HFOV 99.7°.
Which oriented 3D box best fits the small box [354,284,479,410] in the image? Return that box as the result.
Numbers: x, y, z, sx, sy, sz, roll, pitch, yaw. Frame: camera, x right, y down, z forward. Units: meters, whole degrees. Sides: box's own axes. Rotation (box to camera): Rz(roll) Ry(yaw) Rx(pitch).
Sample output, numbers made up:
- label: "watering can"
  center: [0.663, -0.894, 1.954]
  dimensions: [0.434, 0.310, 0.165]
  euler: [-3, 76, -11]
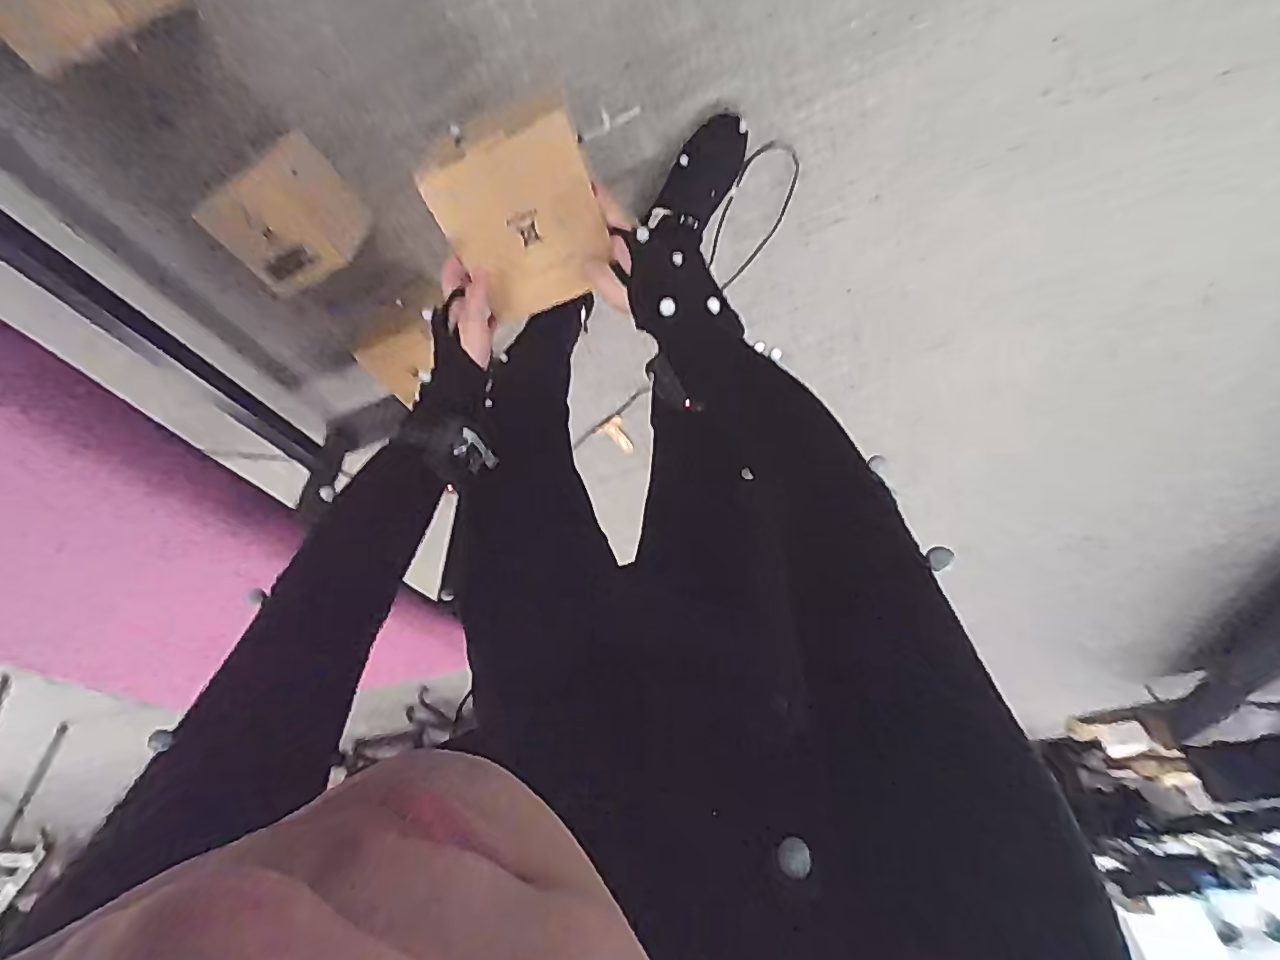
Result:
- label: "small box"
  center: [-0.474, -0.289, 1.181]
  dimensions: [0.168, 0.176, 0.179]
  euler: [-17, 138, 17]

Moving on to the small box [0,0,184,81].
- label: "small box"
  center: [-0.756, -0.669, 0.696]
  dimensions: [0.168, 0.176, 0.179]
  euler: [-15, 139, 14]
